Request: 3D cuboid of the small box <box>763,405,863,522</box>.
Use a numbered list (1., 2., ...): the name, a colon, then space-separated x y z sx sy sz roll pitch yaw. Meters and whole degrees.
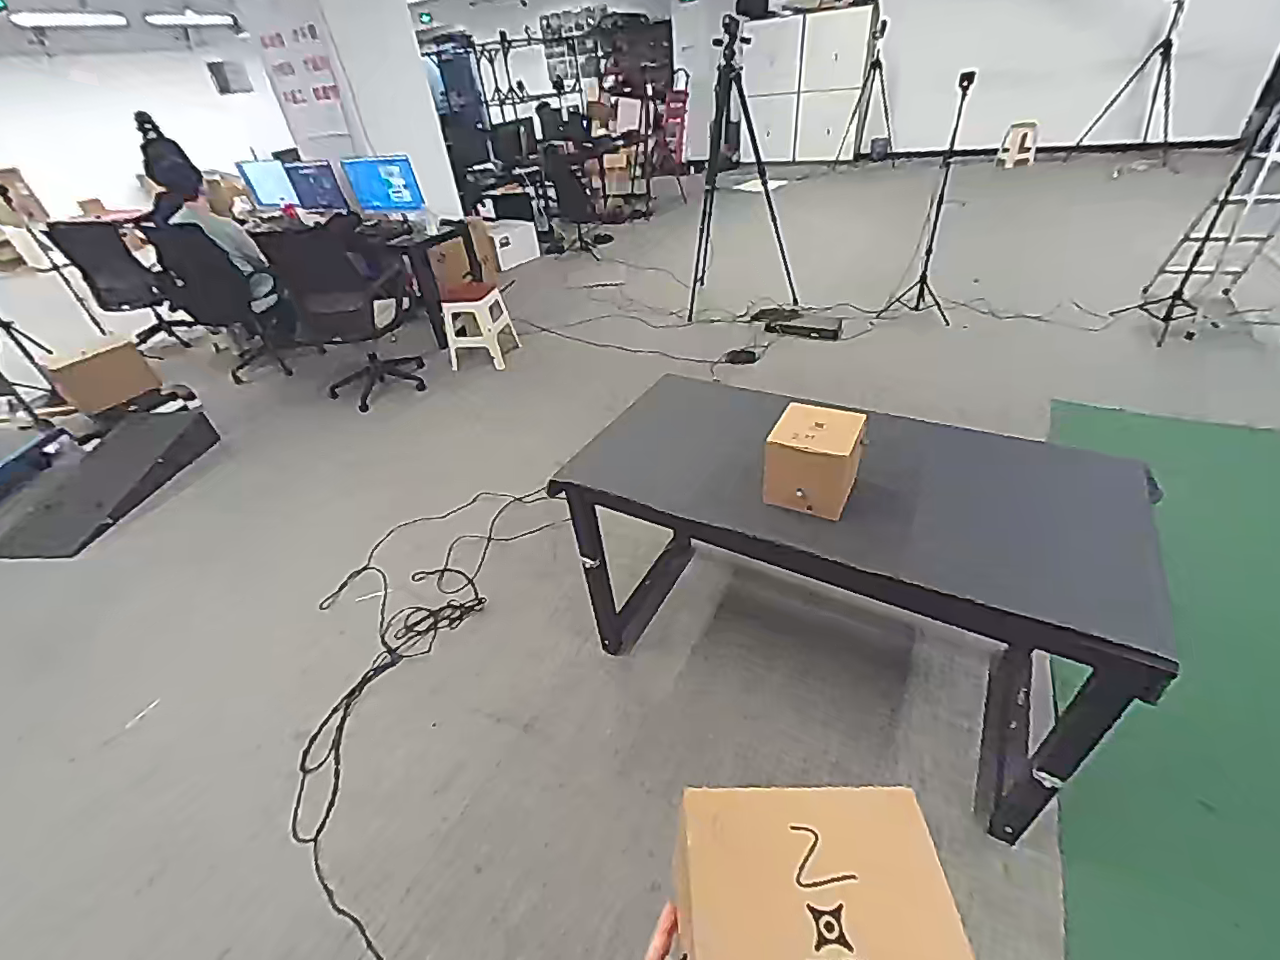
1. small box: 0.373 -0.039 1.182 0.168 0.176 0.179 15 42 26
